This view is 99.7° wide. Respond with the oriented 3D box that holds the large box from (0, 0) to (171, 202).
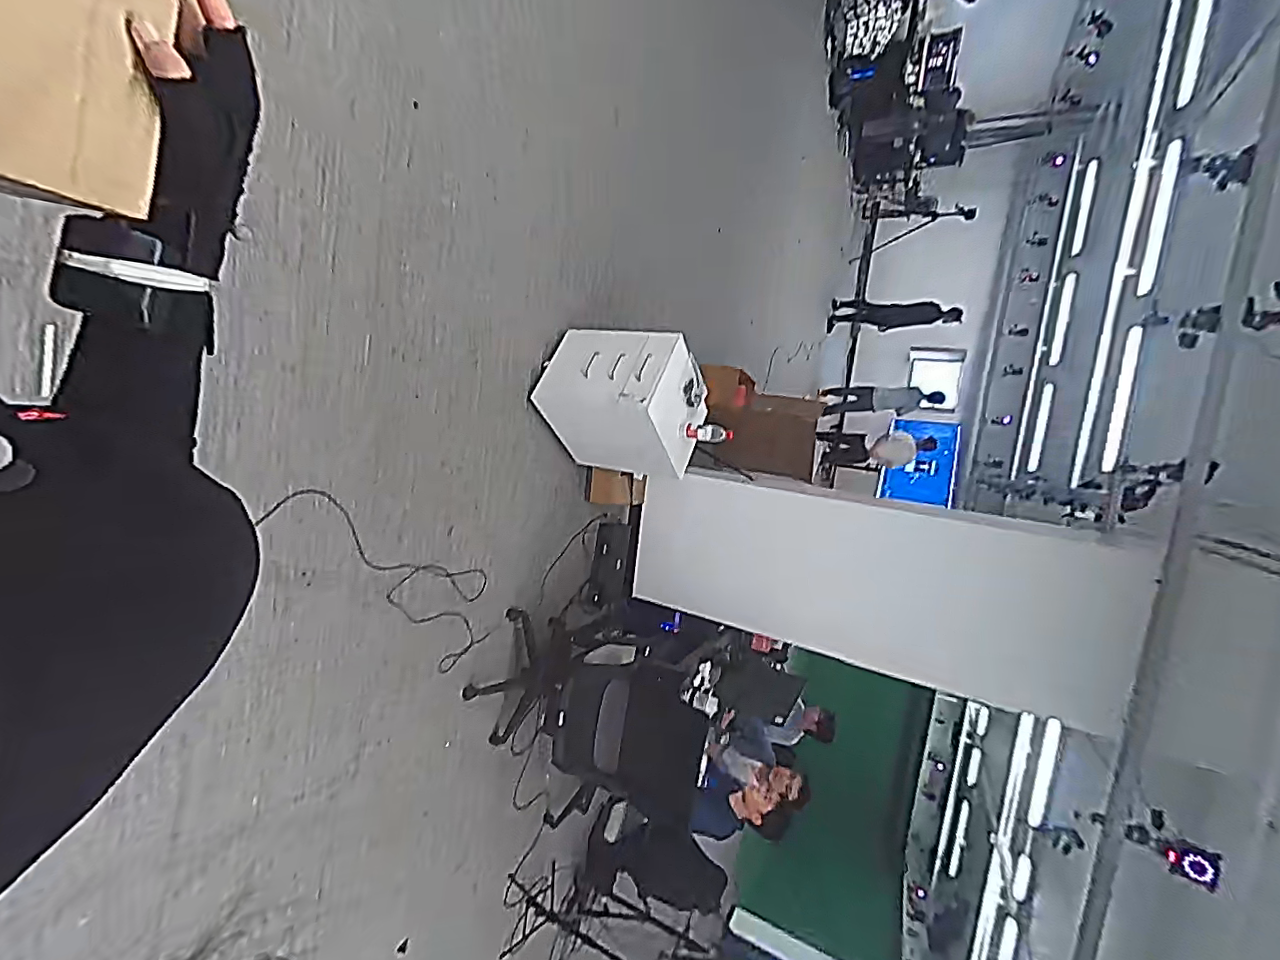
[{"bbox_3d":[-0.518,-0.370,0.241,0.408,0.320,0.320,0,109,-60],"label":"large box"}]
